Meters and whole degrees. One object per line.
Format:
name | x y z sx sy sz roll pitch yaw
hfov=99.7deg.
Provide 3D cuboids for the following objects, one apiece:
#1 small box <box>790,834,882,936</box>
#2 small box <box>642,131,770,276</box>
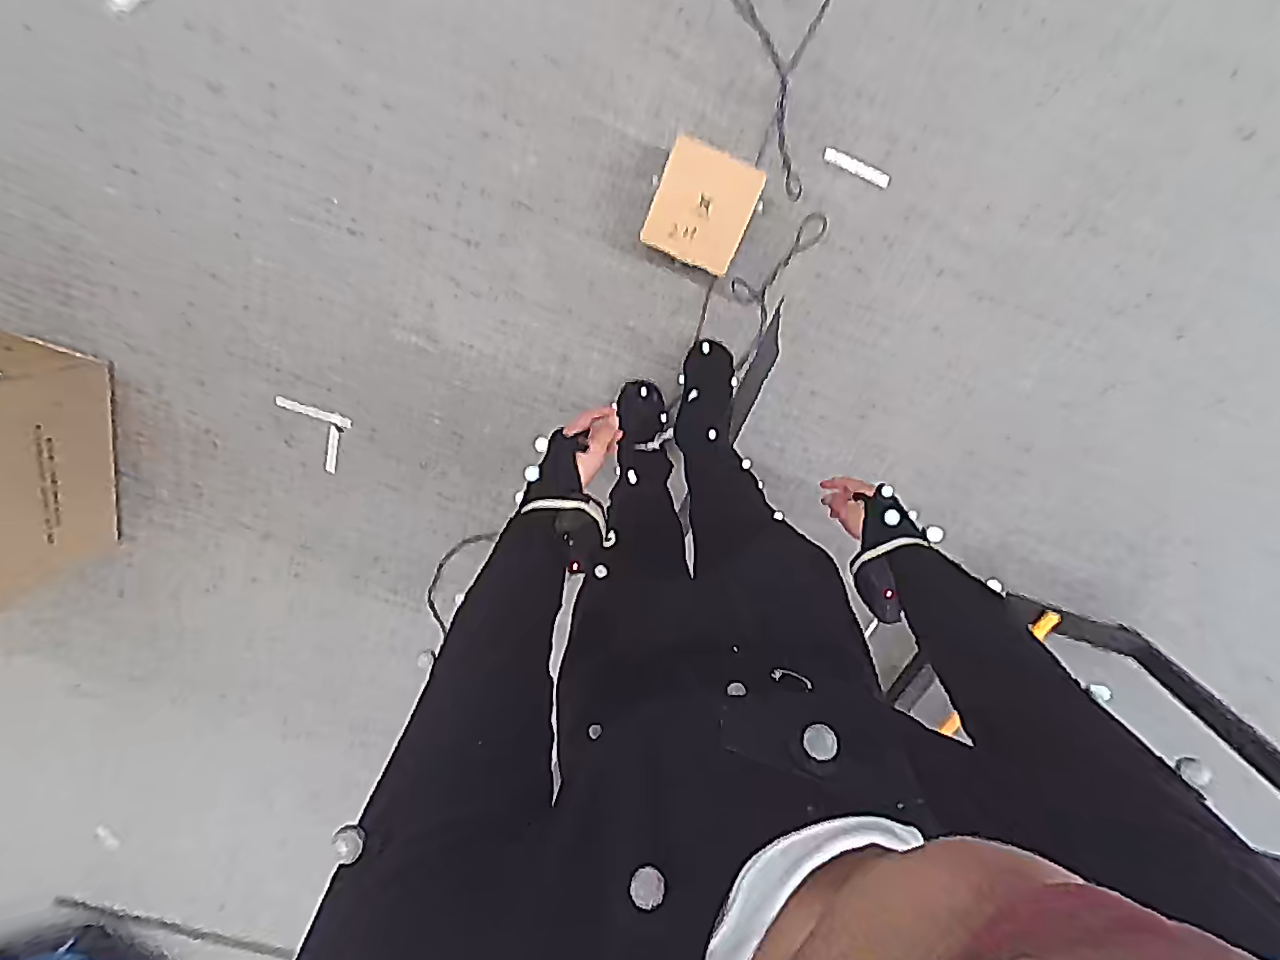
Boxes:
small box | 0.569 1.190 1.599 0.179 0.176 0.168 20 112 -8
small box | 0.112 -0.493 0.984 0.168 0.176 0.179 22 113 -5
